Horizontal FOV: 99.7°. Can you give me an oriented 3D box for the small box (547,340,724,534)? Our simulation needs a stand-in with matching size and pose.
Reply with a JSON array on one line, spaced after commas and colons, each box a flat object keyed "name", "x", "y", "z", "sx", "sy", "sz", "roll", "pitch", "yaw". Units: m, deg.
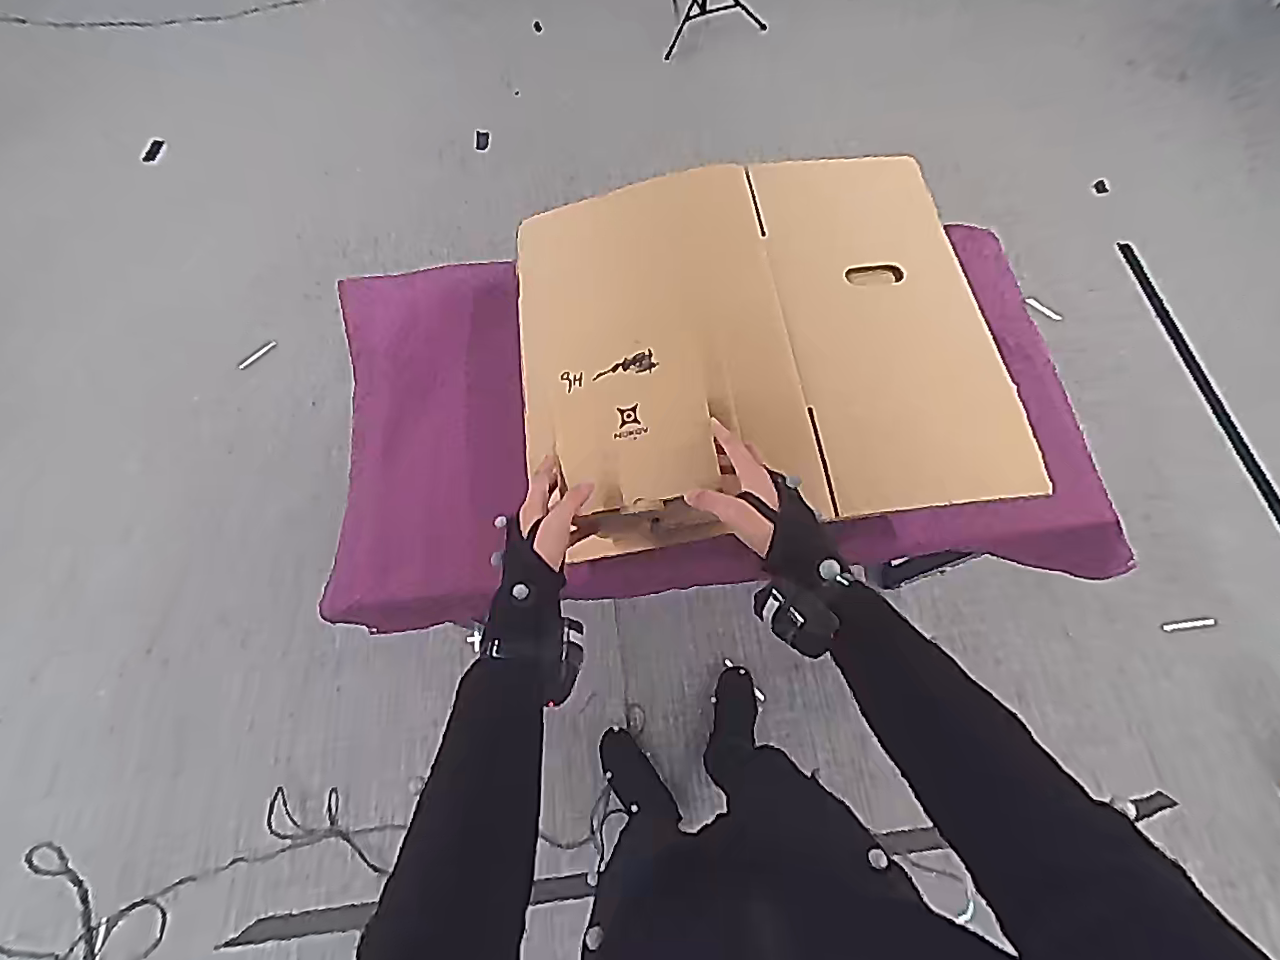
[{"name": "small box", "x": 0.003, "y": -0.035, "z": 0.638, "sx": 0.168, "sy": 0.176, "sz": 0.179, "roll": -10, "pitch": 76, "yaw": 8}]
